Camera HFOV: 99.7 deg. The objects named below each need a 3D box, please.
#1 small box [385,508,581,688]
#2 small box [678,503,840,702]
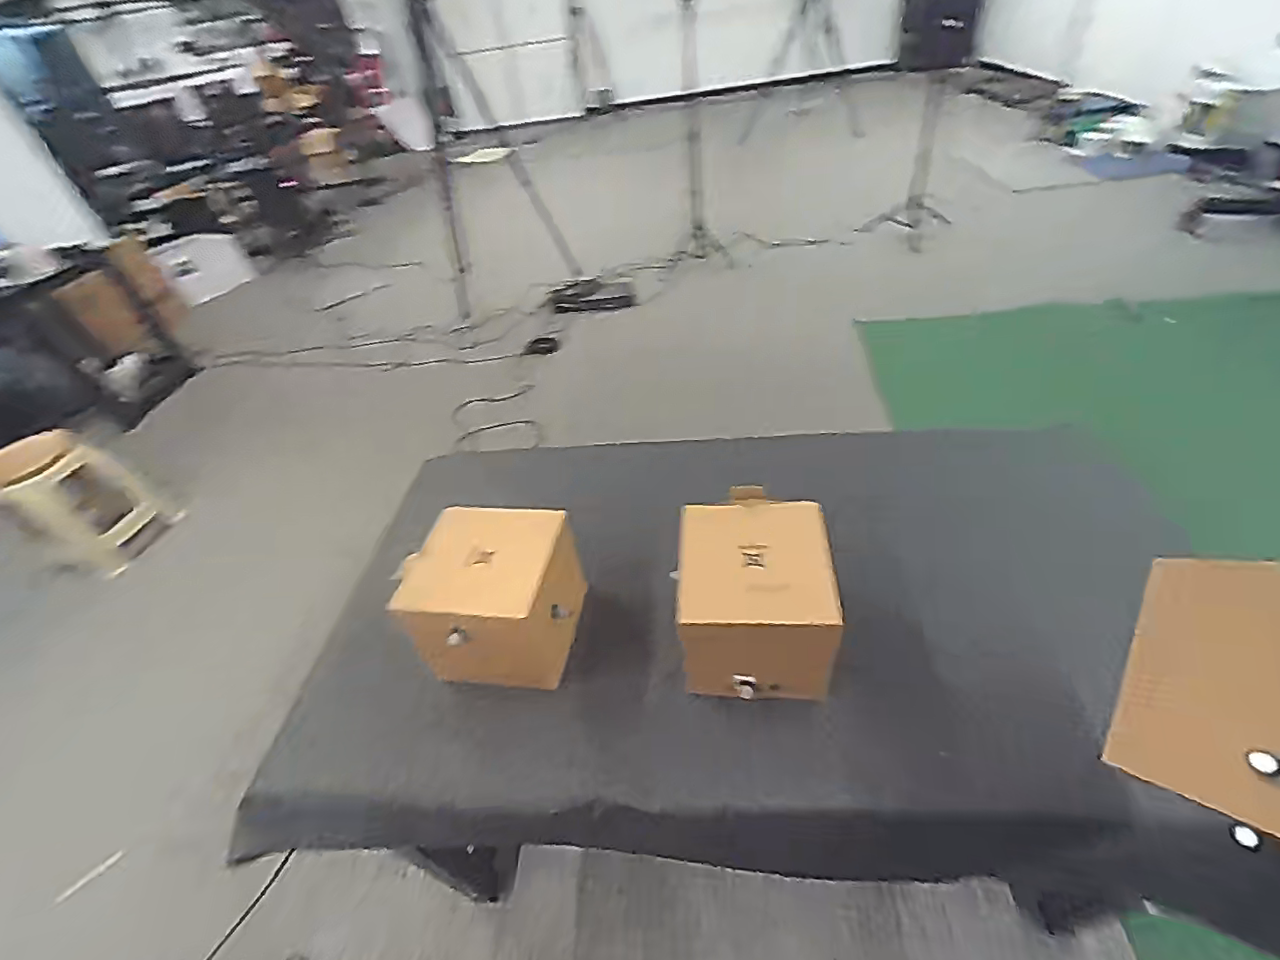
[{"bbox_3d":[-0.187,0.156,0.712,0.179,0.176,0.168,0,42,11],"label":"small box"},{"bbox_3d":[0.136,0.148,0.664,0.168,0.176,0.179,-3,42,8],"label":"small box"}]
